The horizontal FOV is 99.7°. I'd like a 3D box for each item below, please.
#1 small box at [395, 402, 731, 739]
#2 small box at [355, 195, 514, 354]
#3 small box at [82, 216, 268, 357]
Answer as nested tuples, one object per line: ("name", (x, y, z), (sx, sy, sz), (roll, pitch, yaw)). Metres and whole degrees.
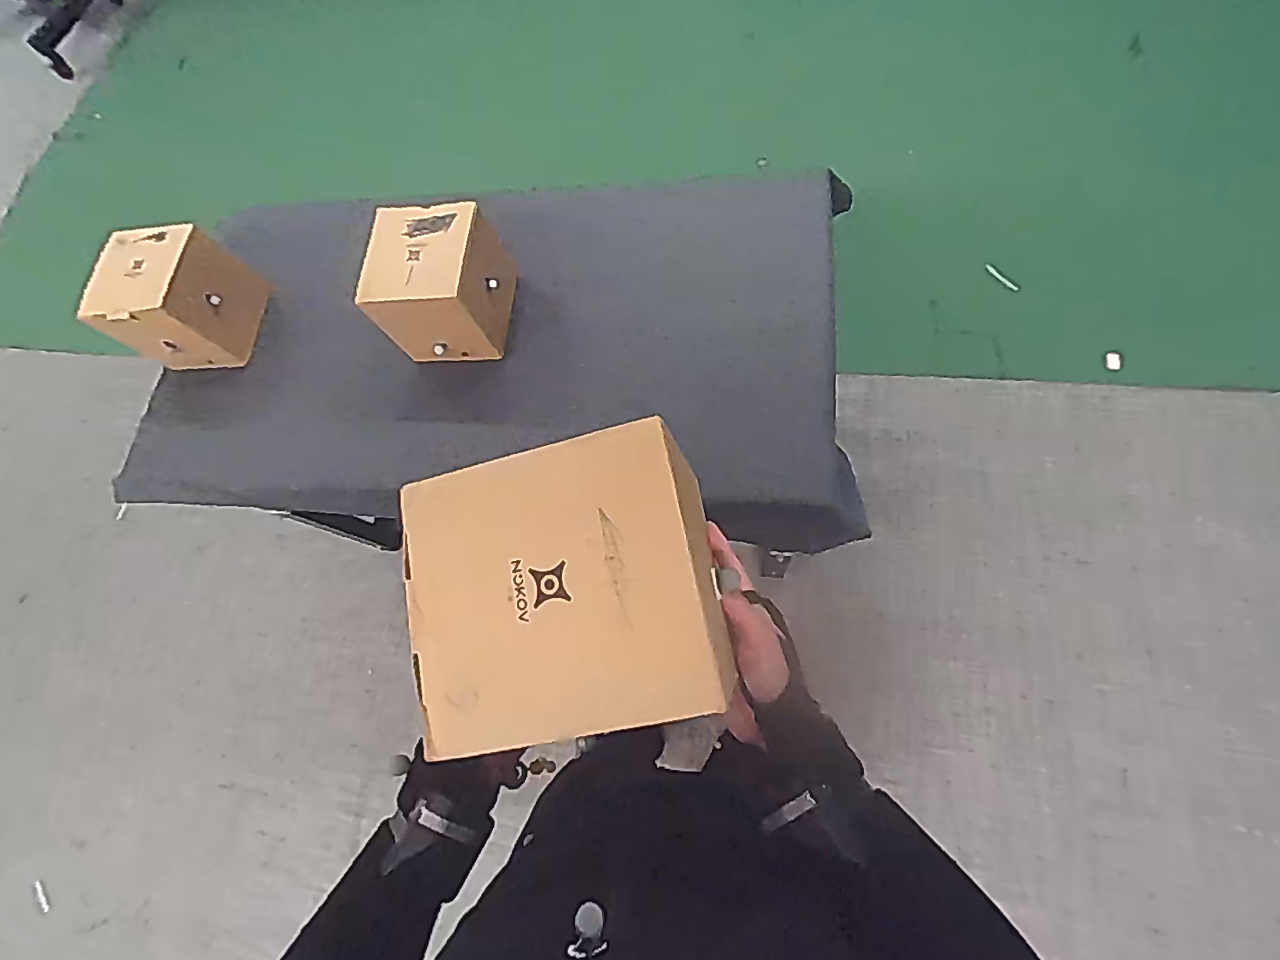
("small box", (-0.041, 0.067, 0.386), (0.179, 0.176, 0.168), (-14, 76, 9))
("small box", (-0.316, -0.323, 0.872), (0.168, 0.176, 0.179), (1, 73, 11))
("small box", (-0.808, -0.331, 0.961), (0.168, 0.176, 0.179), (-1, 72, 9))
